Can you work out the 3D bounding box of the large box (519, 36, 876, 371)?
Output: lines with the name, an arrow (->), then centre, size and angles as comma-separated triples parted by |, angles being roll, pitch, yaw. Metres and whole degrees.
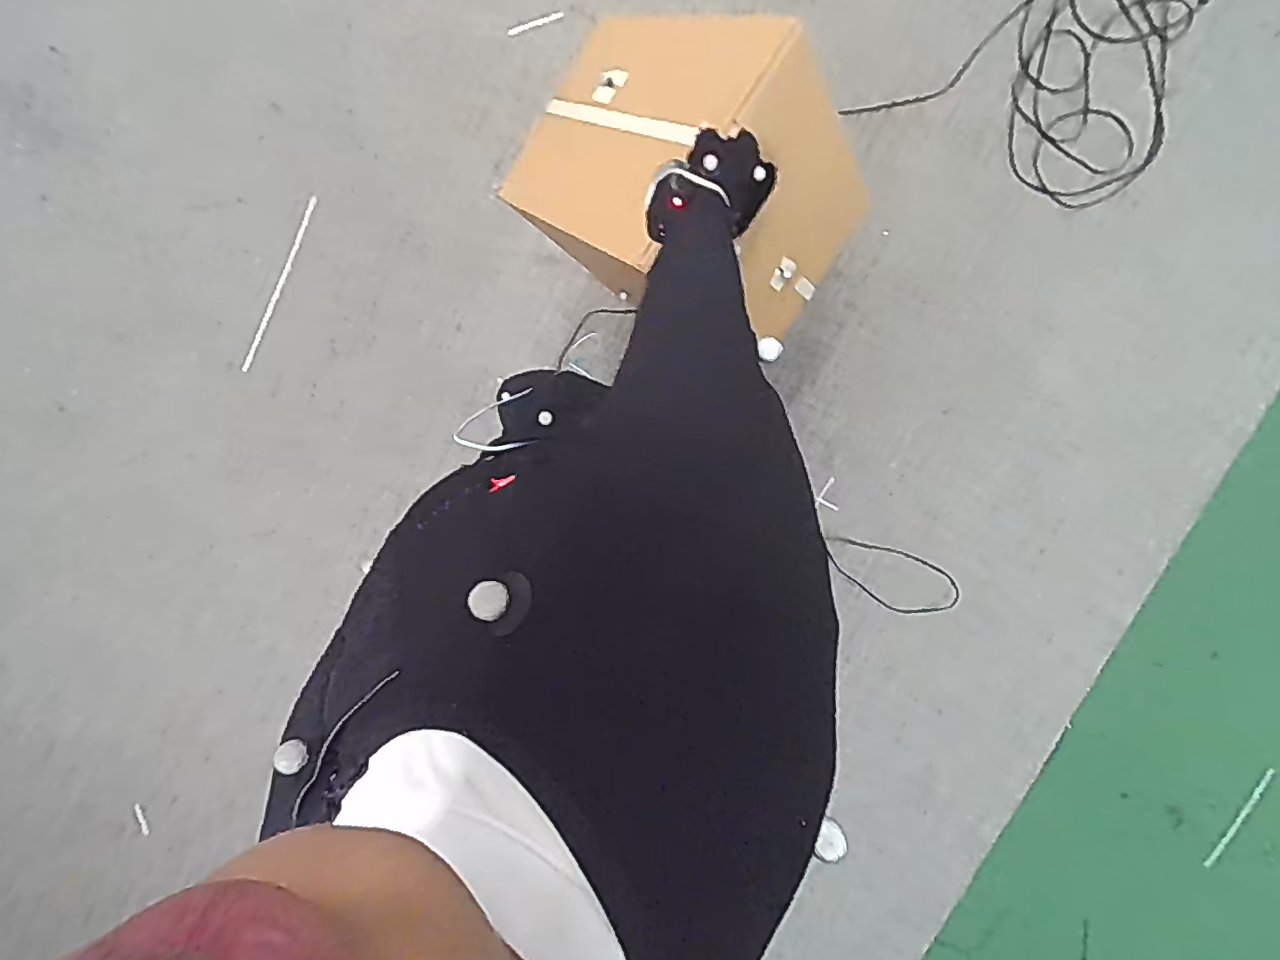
large box -> 0.084, -0.434, 0.866 | 0.320, 0.408, 0.320 | -53, 140, 8
